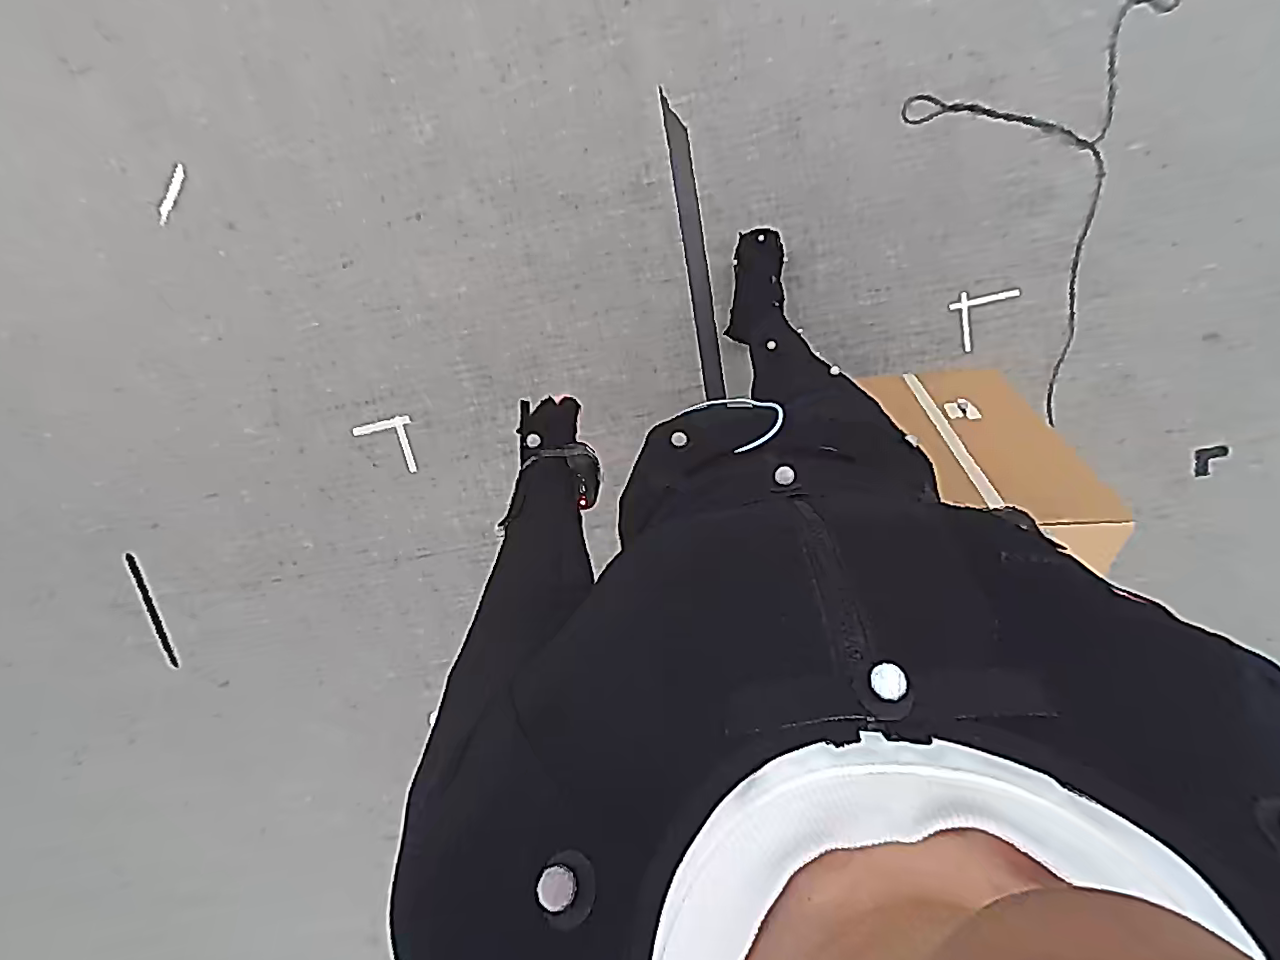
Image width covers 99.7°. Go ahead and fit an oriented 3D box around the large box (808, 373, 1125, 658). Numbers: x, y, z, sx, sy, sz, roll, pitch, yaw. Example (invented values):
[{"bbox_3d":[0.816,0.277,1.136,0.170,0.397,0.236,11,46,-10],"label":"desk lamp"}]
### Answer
[{"bbox_3d":[0.499,0.050,0.951,0.320,0.408,0.320,-3,127,5],"label":"large box"}]
